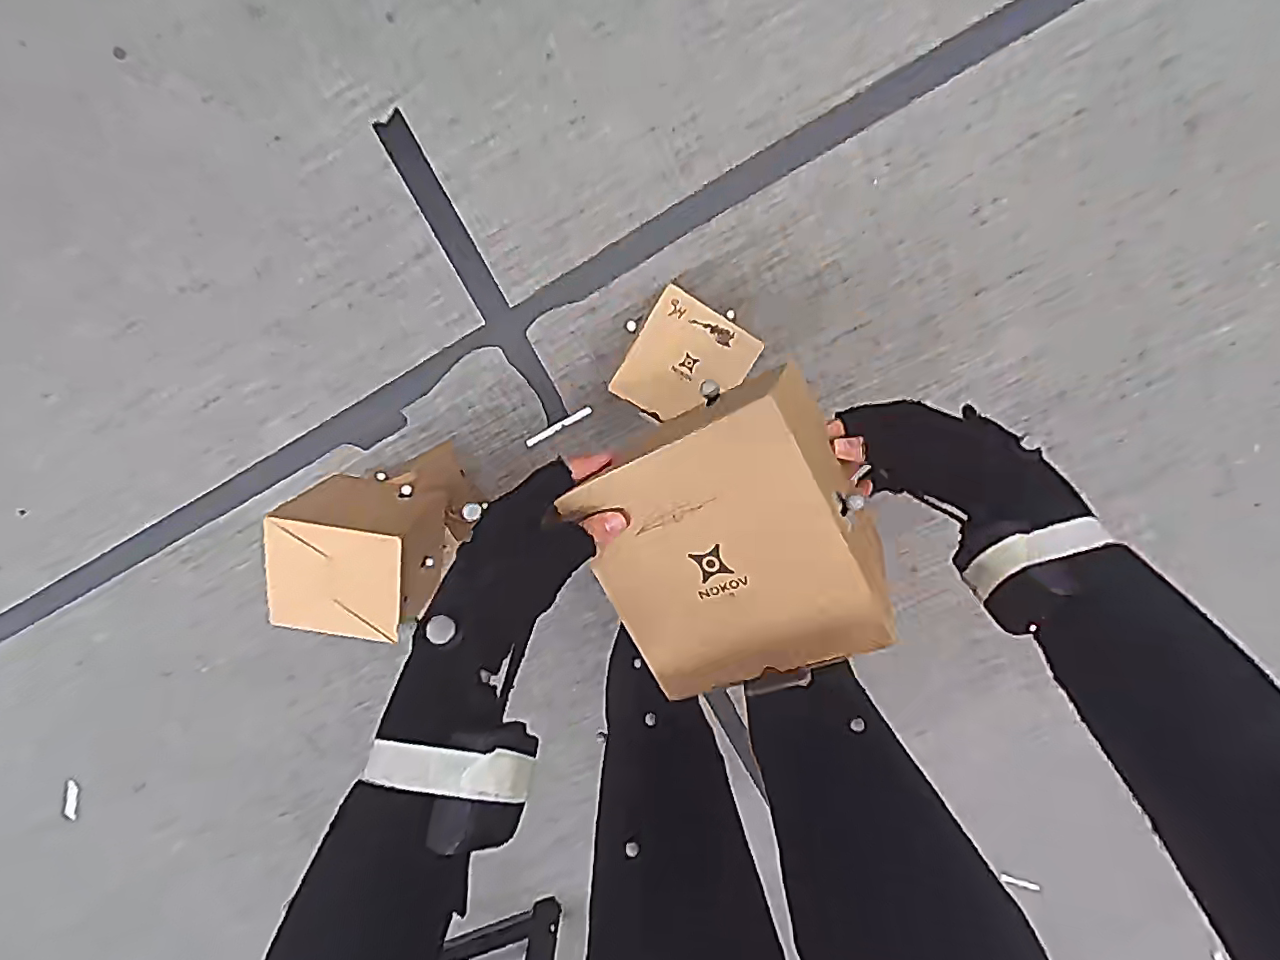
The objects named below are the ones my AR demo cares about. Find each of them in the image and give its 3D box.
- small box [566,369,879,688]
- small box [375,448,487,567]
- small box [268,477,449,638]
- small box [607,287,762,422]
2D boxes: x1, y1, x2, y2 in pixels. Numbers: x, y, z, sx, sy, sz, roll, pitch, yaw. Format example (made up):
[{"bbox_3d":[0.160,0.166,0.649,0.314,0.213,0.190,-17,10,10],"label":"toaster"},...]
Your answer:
[{"bbox_3d":[0.076,0.031,0.437,0.168,0.176,0.179,-22,102,25],"label":"small box"},{"bbox_3d":[-0.389,0.063,0.950,0.179,0.176,0.168,-24,107,9],"label":"small box"},{"bbox_3d":[-0.396,0.110,0.789,0.179,0.176,0.168,9,109,-2],"label":"small box"},{"bbox_3d":[0.065,-0.186,0.860,0.168,0.176,0.179,30,107,-12],"label":"small box"}]
